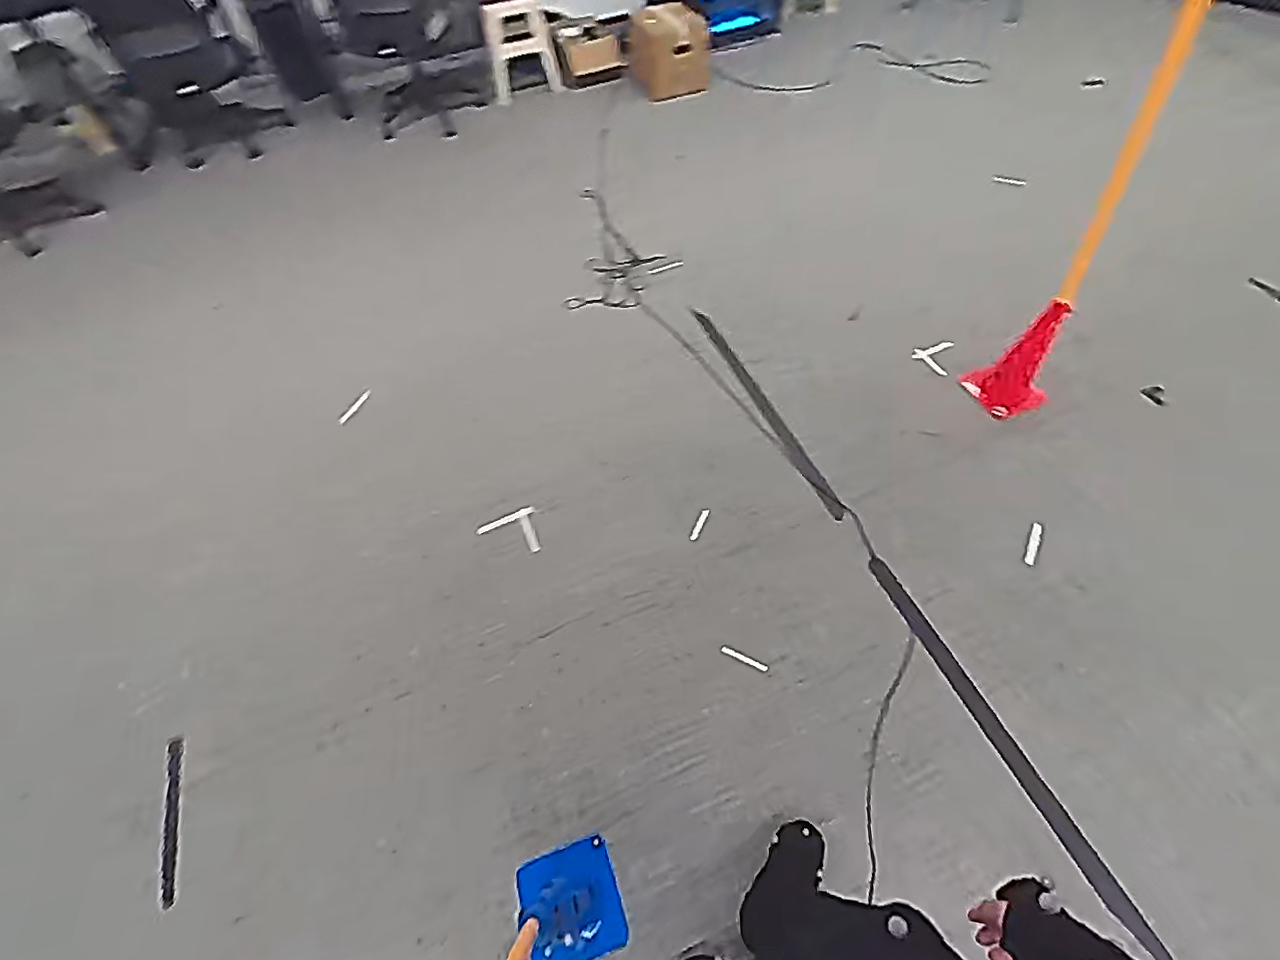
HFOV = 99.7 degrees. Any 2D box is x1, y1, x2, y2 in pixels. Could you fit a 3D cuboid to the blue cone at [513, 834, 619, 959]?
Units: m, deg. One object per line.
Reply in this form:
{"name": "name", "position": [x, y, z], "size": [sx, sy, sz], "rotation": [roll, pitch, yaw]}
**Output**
{"name": "blue cone", "position": [-0.161, 0.777, 0.979], "size": [0.193, 0.380, 0.192], "rotation": [-18, 56, -7]}
